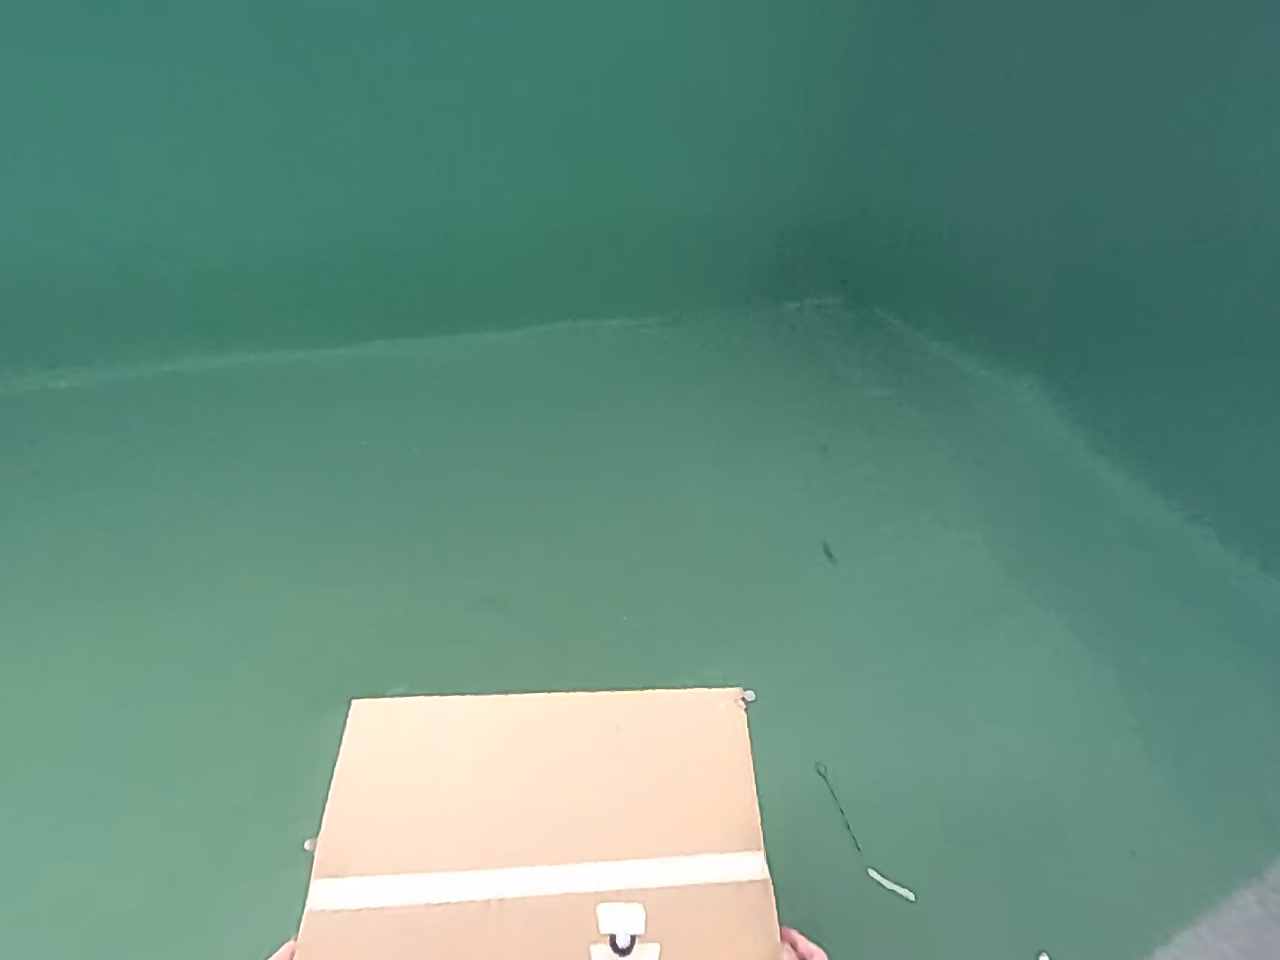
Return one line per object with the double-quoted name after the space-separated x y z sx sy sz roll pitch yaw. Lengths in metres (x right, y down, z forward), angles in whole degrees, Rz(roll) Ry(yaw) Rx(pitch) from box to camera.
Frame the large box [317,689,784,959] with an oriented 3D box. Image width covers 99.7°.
-0.089 0.439 0.617 0.408 0.320 0.320 1 58 -6 "large box"
